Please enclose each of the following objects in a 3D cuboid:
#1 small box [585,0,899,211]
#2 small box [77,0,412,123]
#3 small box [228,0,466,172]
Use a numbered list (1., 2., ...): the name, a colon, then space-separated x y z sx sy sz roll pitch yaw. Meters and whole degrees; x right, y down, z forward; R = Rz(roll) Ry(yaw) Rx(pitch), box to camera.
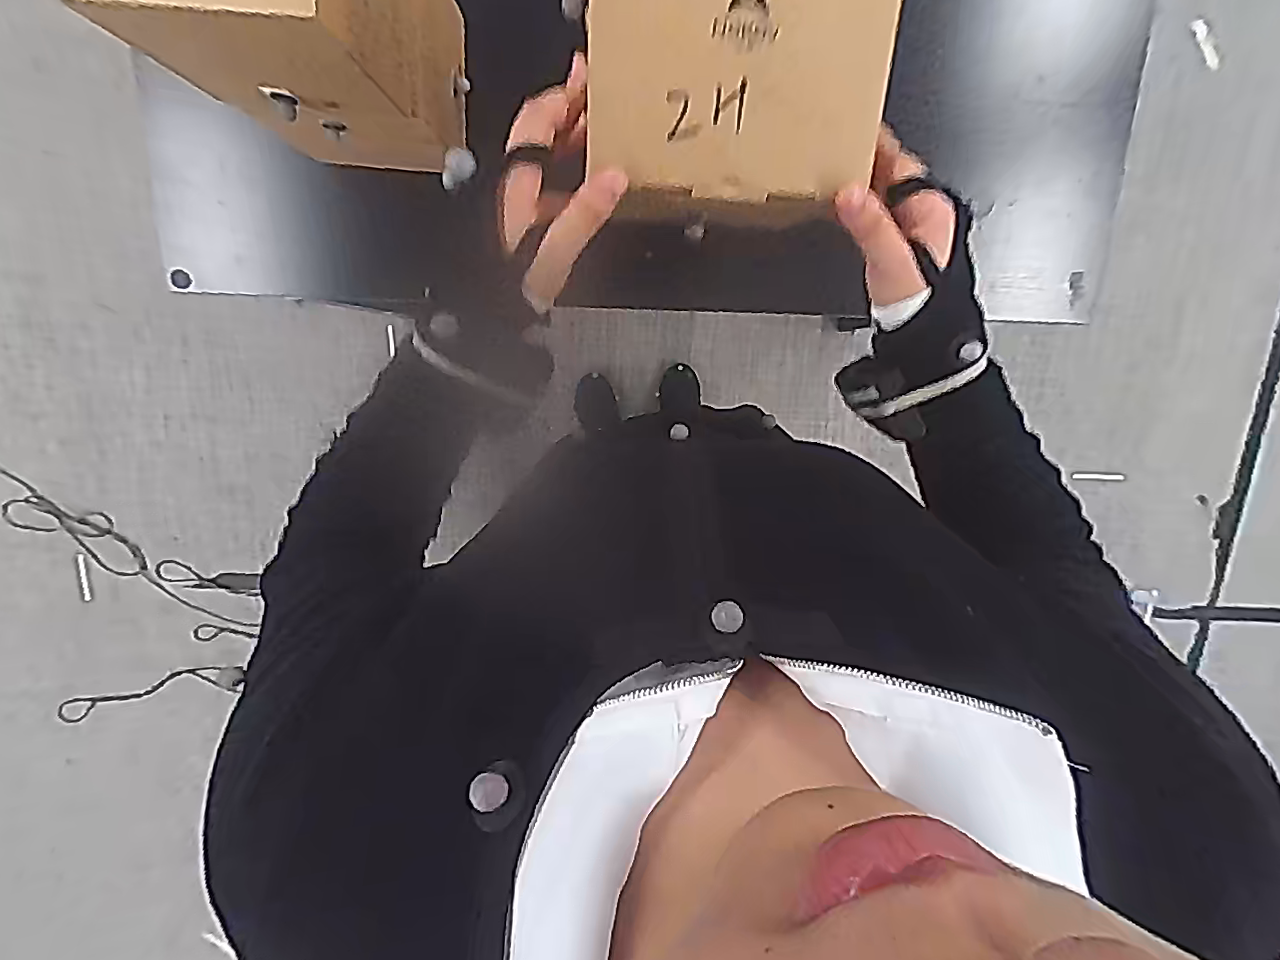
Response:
1. small box: 0.049 -0.286 0.351 0.168 0.176 0.179 1 111 -4
2. small box: -0.286 -0.404 0.405 0.168 0.176 0.179 2 104 -2
3. small box: -0.291 -0.441 0.563 0.179 0.176 0.168 2 103 -4
